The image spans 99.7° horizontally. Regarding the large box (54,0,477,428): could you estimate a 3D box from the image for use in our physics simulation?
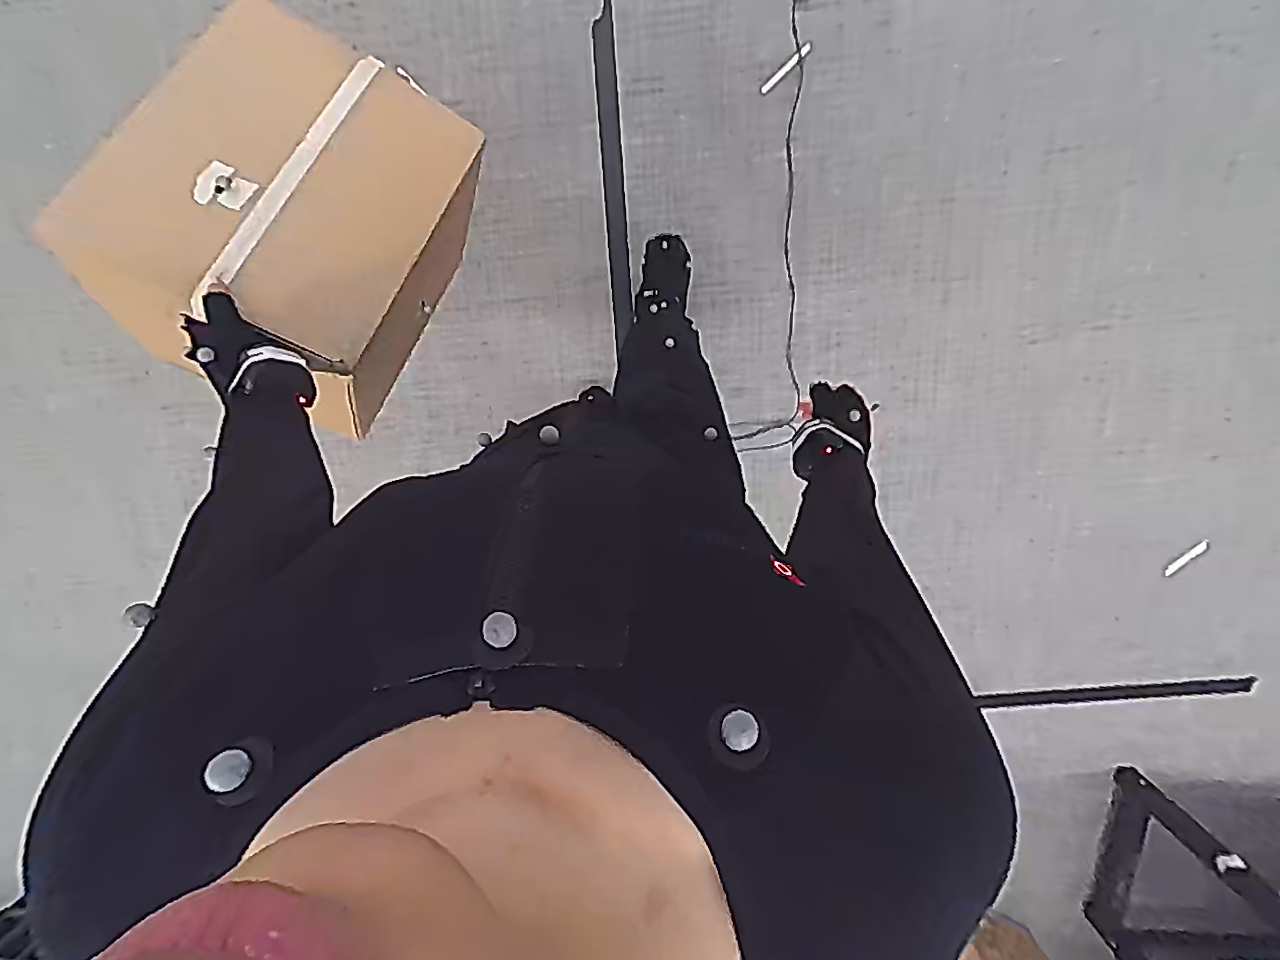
[{"bbox_3d":[-0.480,-0.347,0.797,0.320,0.320,0.408,25,71,-18],"label":"large box"}]
